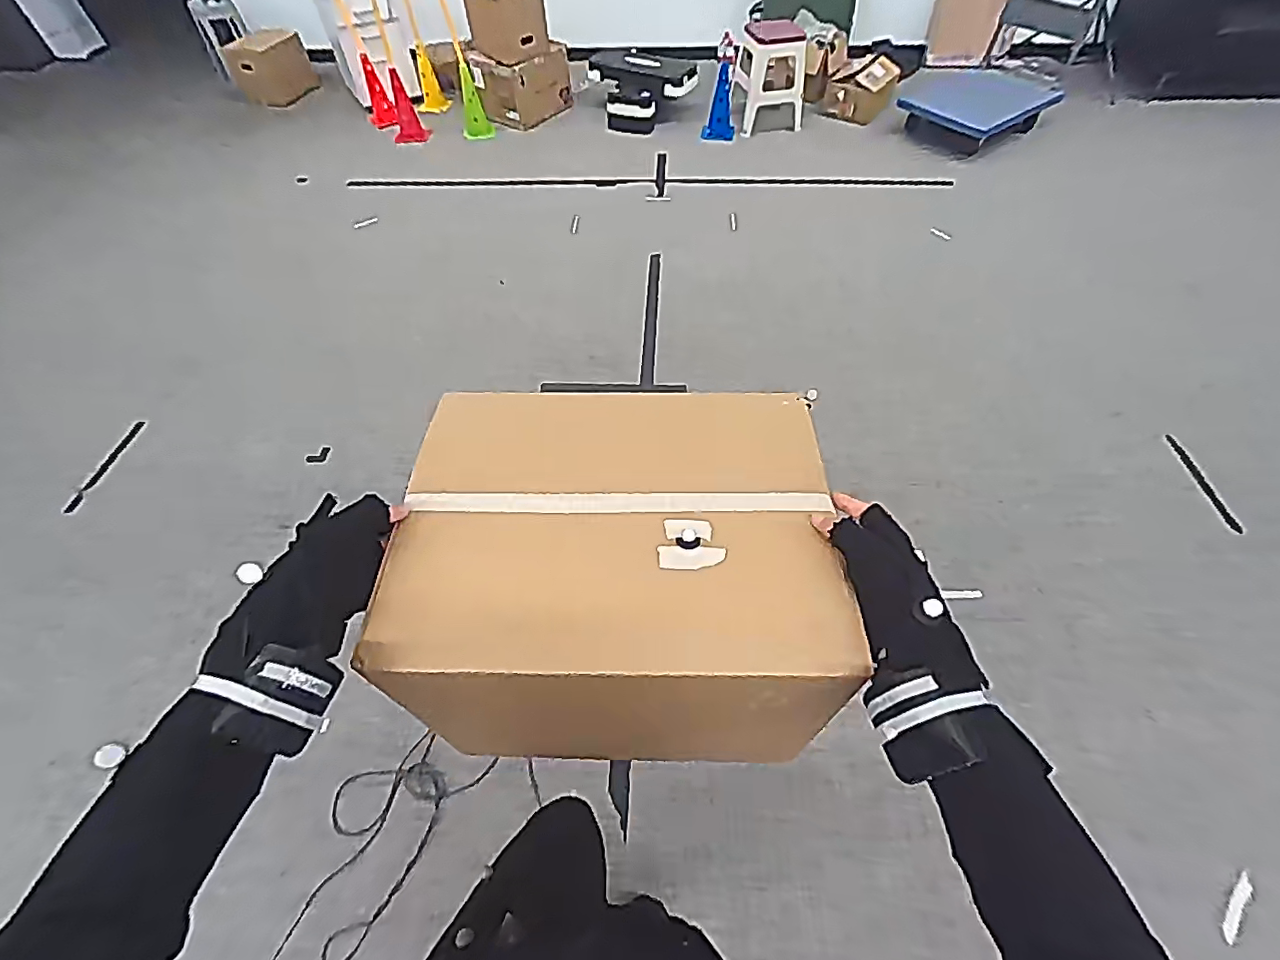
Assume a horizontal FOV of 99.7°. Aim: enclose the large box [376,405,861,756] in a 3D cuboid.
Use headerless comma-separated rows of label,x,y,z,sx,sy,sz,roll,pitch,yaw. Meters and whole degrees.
large box,-0.017,0.126,0.643,0.408,0.320,0.320,1,52,1
